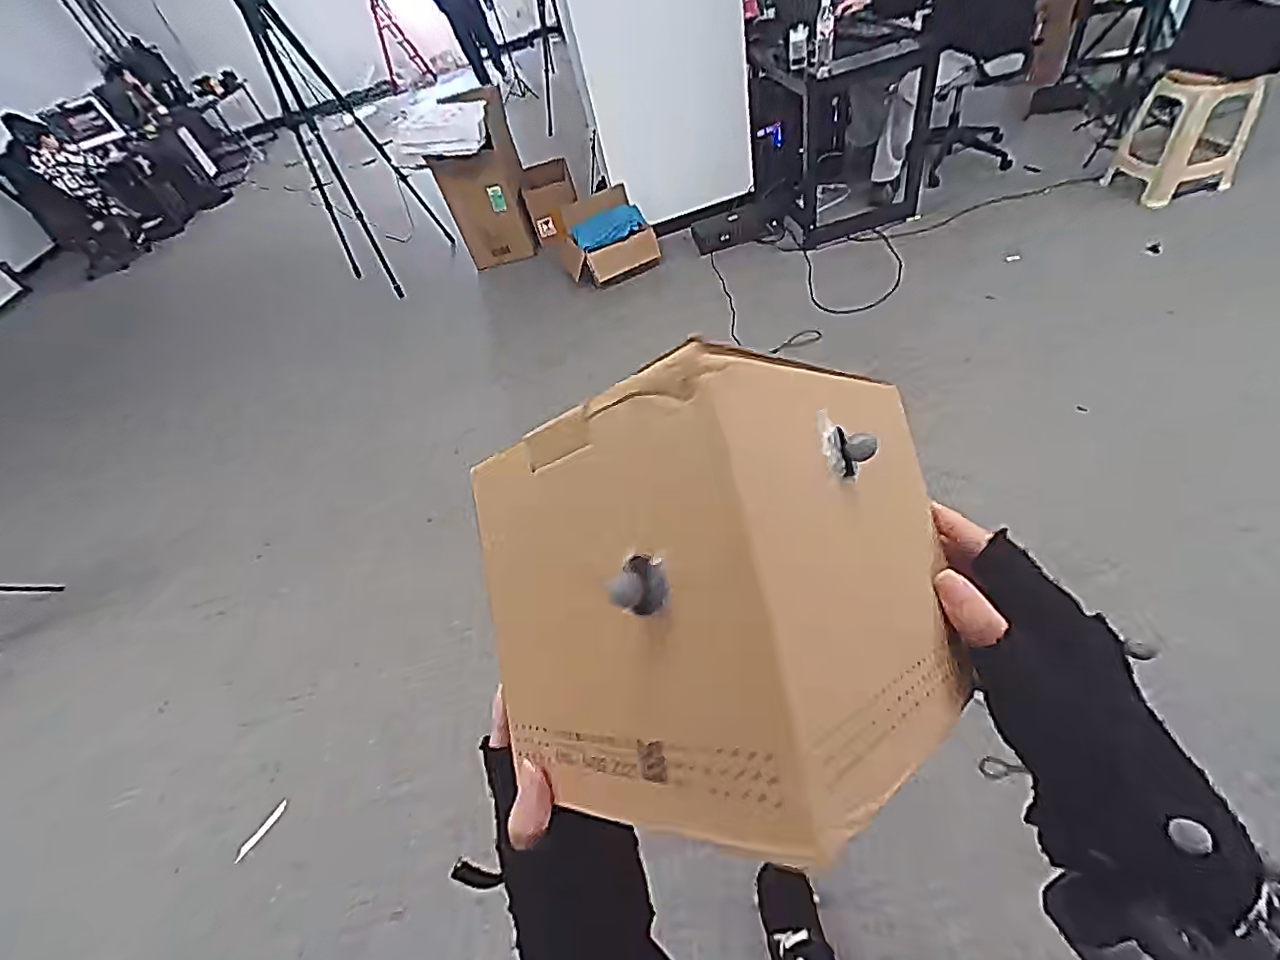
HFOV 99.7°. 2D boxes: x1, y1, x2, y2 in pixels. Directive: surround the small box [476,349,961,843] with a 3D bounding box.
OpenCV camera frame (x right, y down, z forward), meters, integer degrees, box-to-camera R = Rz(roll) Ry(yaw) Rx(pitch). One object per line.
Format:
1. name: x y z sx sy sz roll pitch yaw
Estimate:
1. small box: 0.042 0.054 0.285 0.168 0.179 0.176 -21 77 42
